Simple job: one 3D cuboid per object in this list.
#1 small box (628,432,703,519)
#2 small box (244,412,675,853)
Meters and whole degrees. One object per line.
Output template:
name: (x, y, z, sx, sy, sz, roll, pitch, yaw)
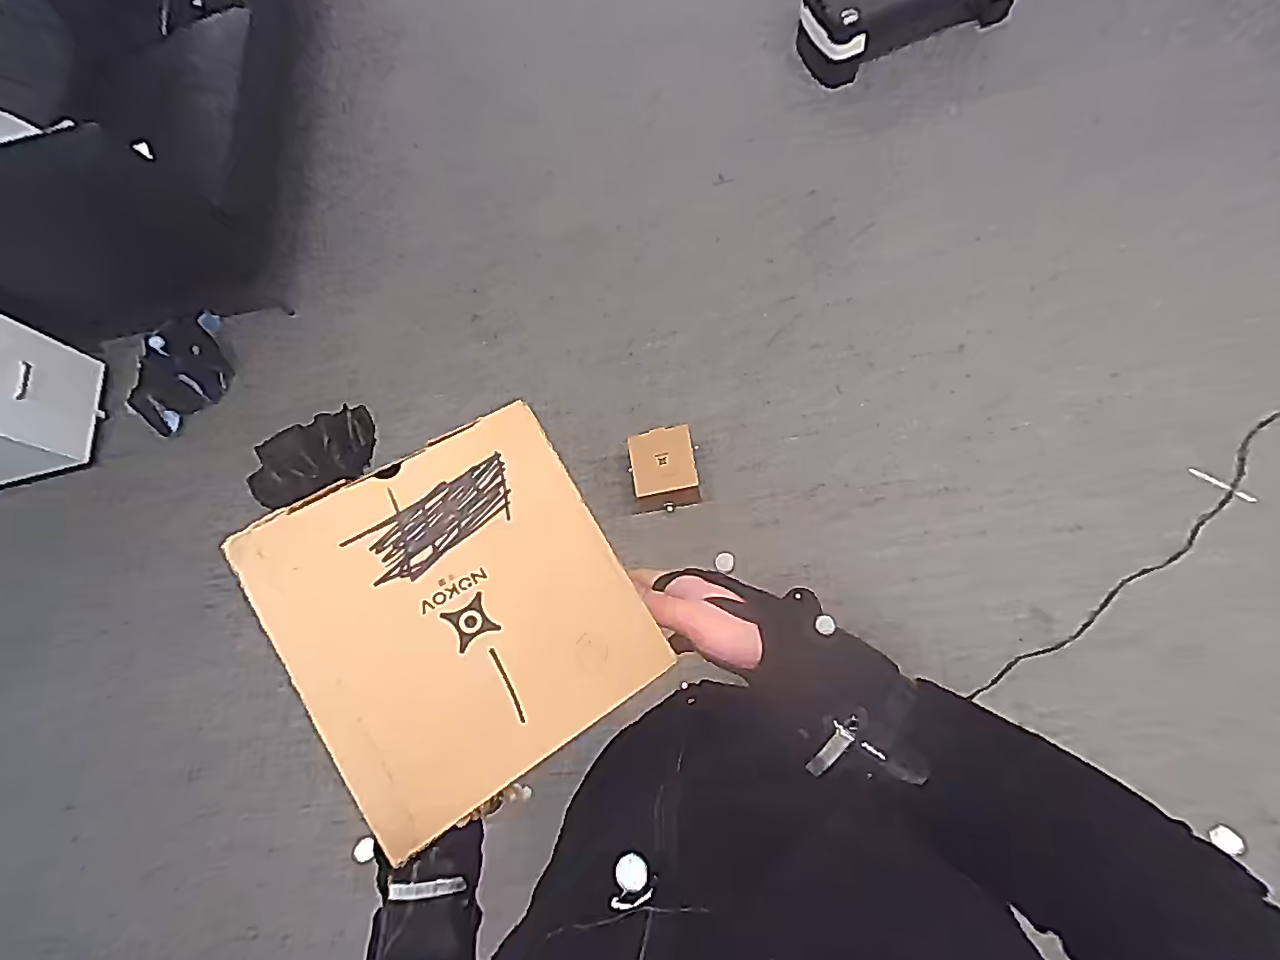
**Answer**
small box: (0.073, -0.006, 1.484, 0.168, 0.176, 0.179, -13, 71, 7)
small box: (-0.108, 0.088, 0.362, 0.168, 0.176, 0.179, -30, 84, -19)
